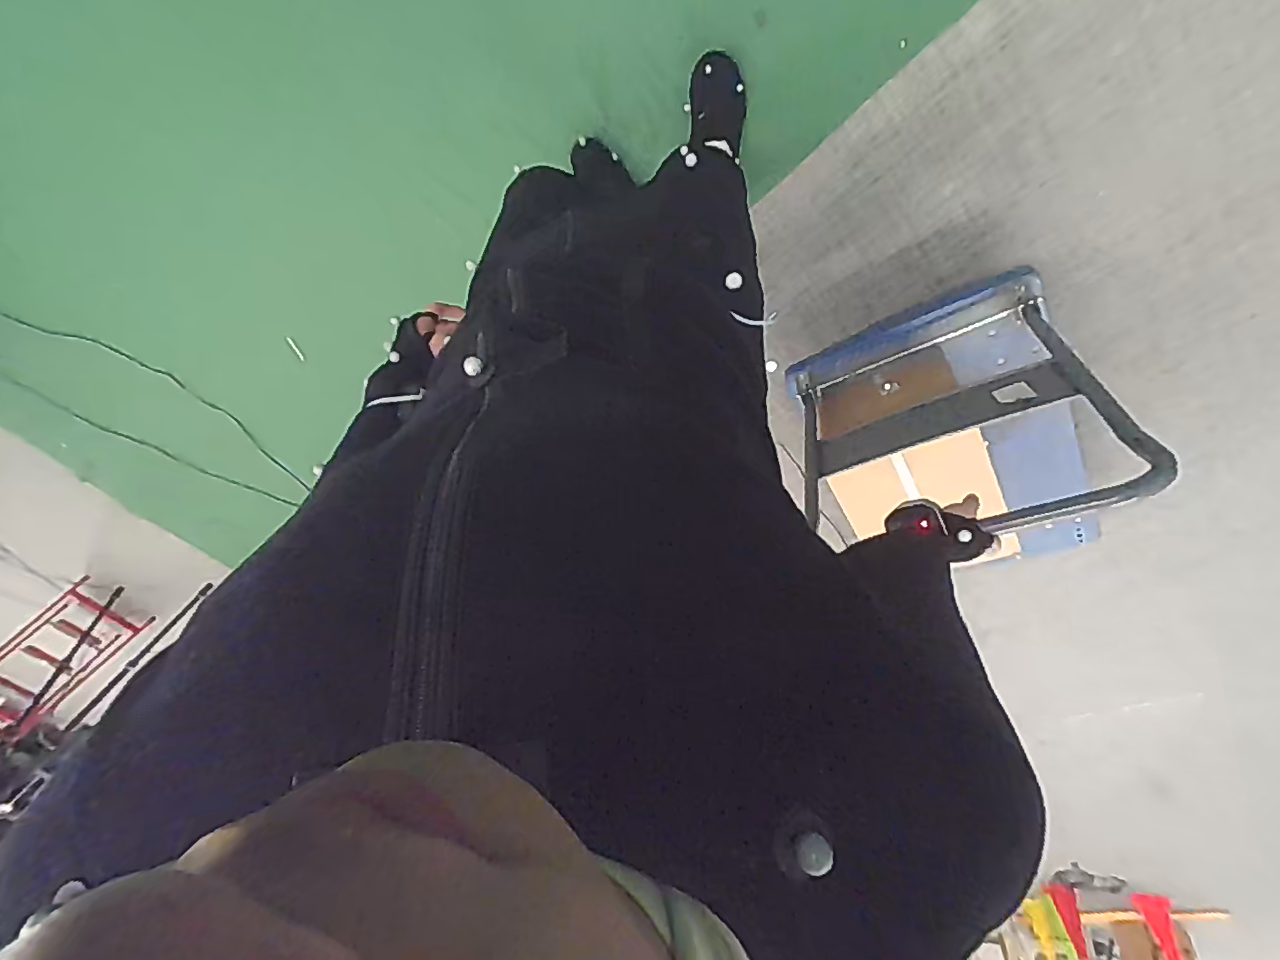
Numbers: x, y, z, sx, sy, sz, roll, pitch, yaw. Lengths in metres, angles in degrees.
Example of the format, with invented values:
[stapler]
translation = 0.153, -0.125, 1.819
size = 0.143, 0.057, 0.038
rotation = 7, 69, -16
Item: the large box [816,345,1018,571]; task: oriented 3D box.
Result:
[large box]
translation = 0.666, -0.048, 1.337
size = 0.320, 0.320, 0.408
rotation = -21, 122, 29
